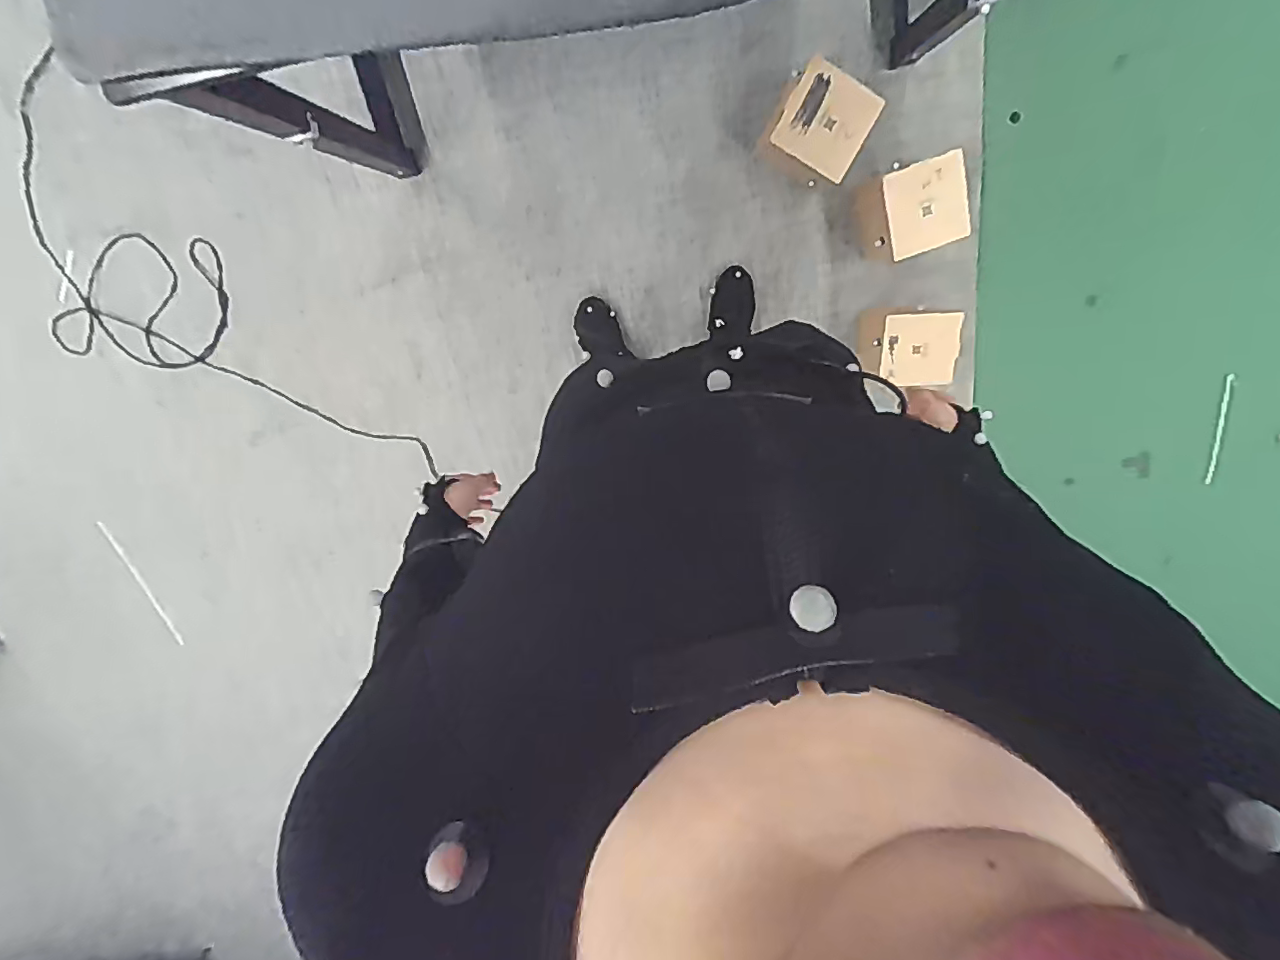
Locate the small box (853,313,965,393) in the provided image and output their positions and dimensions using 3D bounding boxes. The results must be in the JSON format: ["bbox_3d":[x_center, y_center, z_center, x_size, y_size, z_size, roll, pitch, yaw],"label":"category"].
[{"bbox_3d":[0.642,-0.311,1.312,0.179,0.176,0.168,-1,112,1],"label":"small box"}]

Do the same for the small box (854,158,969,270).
[{"bbox_3d":[0.599,-0.585,1.206,0.168,0.176,0.179,-18,110,7],"label":"small box"}]
